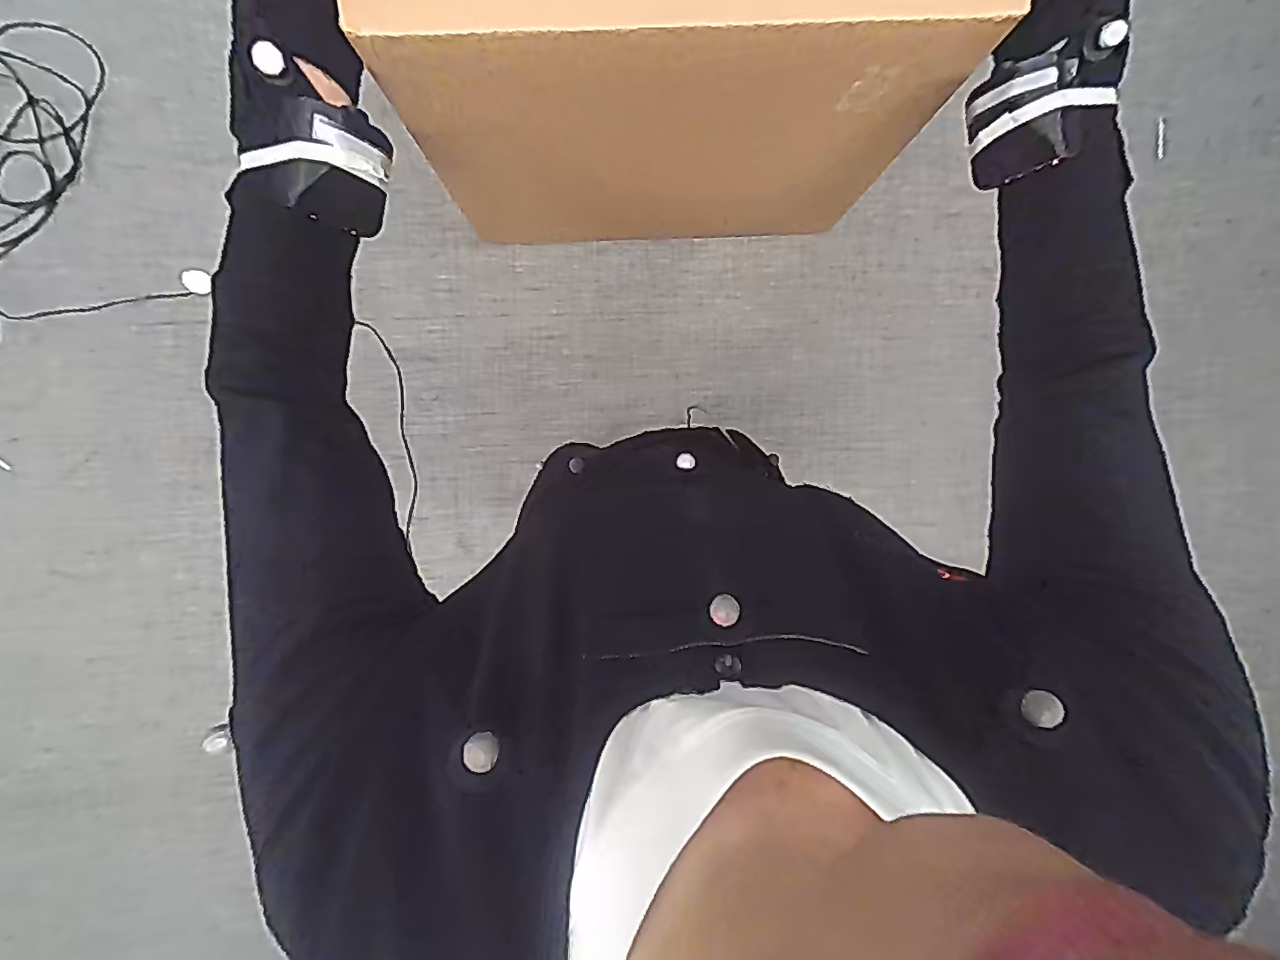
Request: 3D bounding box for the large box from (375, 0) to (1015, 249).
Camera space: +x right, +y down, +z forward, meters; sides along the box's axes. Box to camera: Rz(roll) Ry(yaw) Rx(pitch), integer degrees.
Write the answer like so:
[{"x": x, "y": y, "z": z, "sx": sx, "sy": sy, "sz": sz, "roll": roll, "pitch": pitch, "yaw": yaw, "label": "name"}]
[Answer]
[{"x": 0.021, "y": -0.426, "z": 0.476, "sx": 0.408, "sy": 0.320, "sz": 0.320, "roll": -4, "pitch": 92, "yaw": -3, "label": "large box"}]
